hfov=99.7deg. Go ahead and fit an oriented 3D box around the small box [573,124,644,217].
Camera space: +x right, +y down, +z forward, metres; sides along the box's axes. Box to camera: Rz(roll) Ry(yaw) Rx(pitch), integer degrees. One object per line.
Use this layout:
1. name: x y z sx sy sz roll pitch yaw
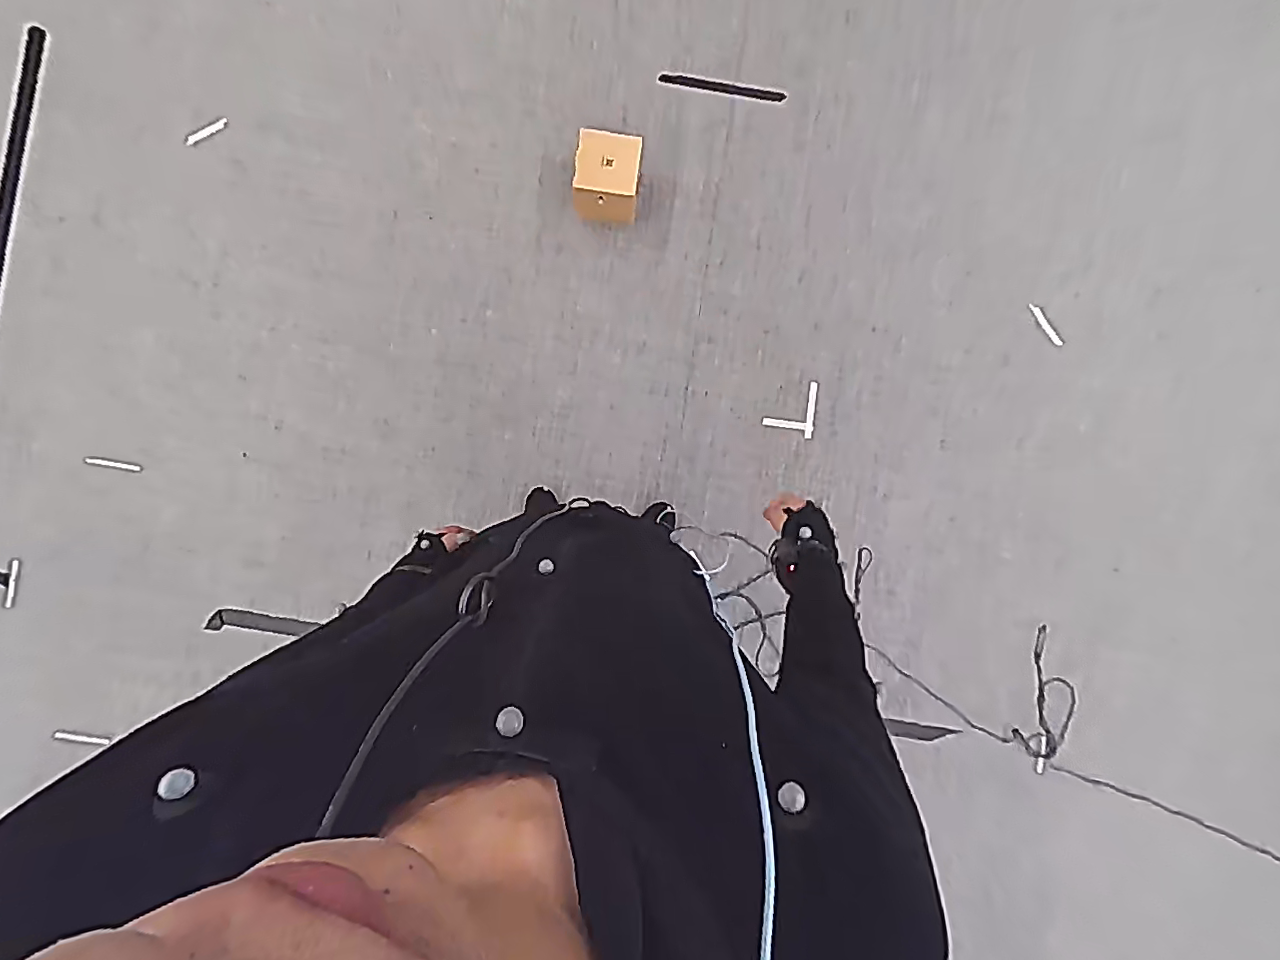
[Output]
1. small box: -0.089 -0.882 1.557 0.179 0.176 0.168 8 91 -1
